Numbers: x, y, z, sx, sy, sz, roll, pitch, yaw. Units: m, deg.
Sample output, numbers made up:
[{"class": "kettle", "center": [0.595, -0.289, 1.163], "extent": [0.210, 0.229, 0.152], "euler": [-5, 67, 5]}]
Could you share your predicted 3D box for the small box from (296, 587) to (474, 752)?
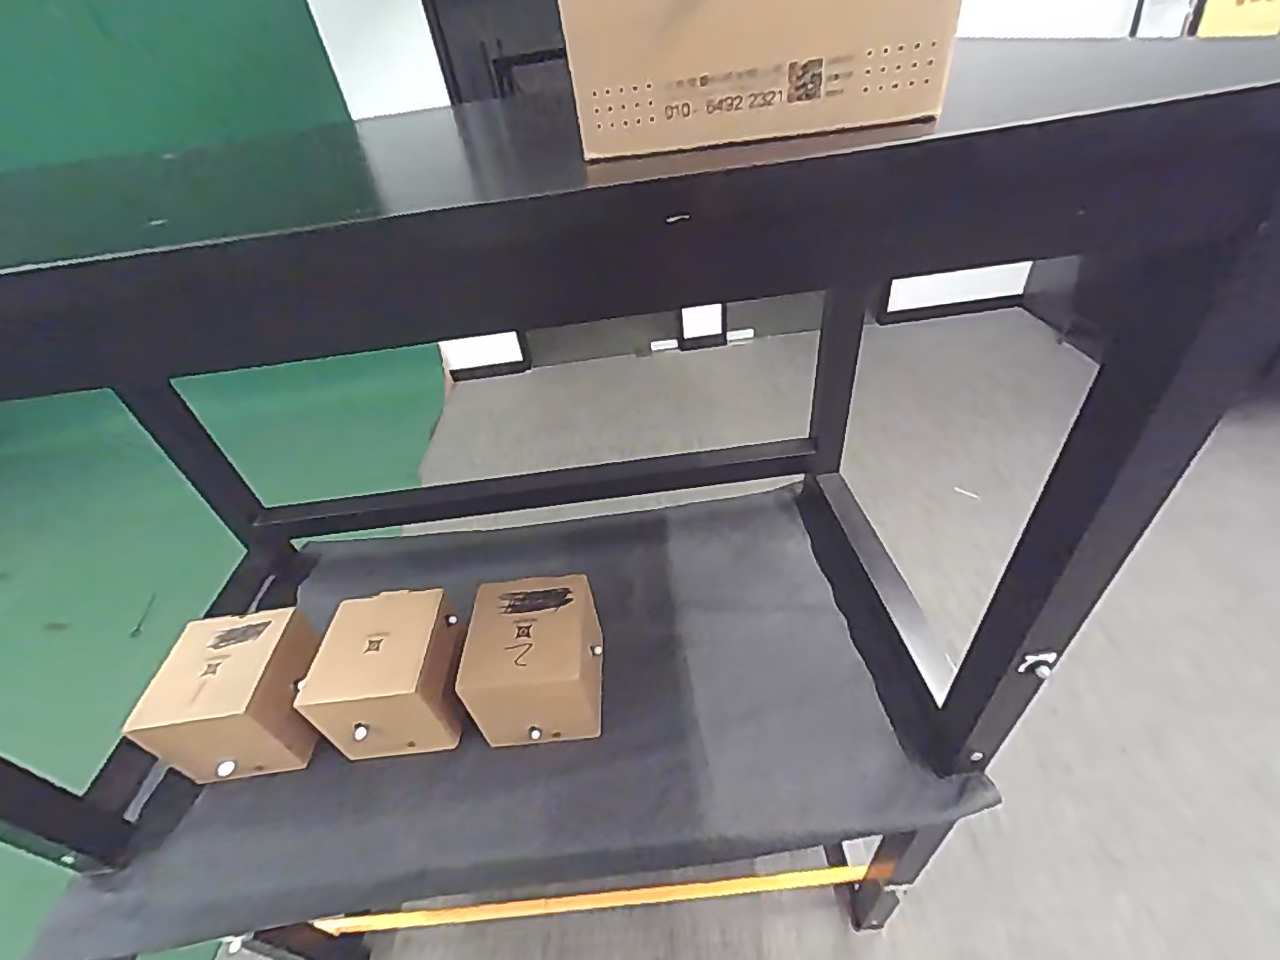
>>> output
[{"class": "small box", "center": [-0.364, 0.290, 0.816], "extent": [0.168, 0.176, 0.179], "euler": [-7, 38, 2]}]

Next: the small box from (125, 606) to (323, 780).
[{"class": "small box", "center": [-0.589, 0.319, 0.817], "extent": [0.168, 0.176, 0.179], "euler": [-9, 39, 0]}]

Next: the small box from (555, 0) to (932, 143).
[{"class": "small box", "center": [0.046, -0.281, 0.271], "extent": [0.168, 0.176, 0.179], "euler": [-2, 39, 8]}]
